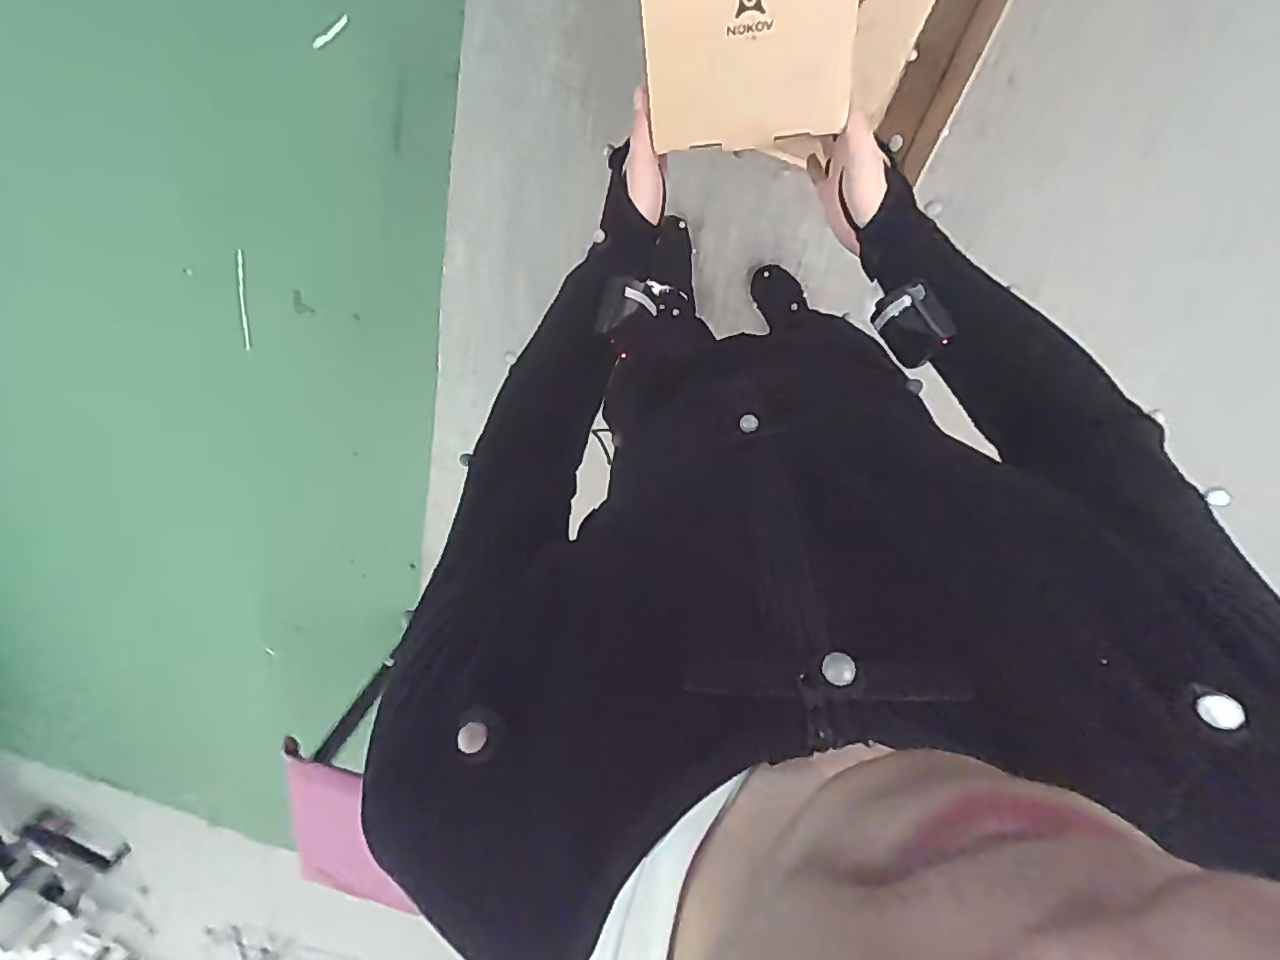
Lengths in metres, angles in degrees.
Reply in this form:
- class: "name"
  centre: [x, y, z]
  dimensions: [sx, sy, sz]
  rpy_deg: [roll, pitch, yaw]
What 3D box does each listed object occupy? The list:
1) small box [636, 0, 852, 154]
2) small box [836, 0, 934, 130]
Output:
- class: "small box"
  centre: [0.086, -0.410, 0.480]
  dimensions: [0.168, 0.176, 0.179]
  rpy_deg: [-3, 126, 7]
- class: "small box"
  centre: [0.252, -0.573, 0.683]
  dimensions: [0.168, 0.176, 0.179]
  rpy_deg: [23, 118, -2]
